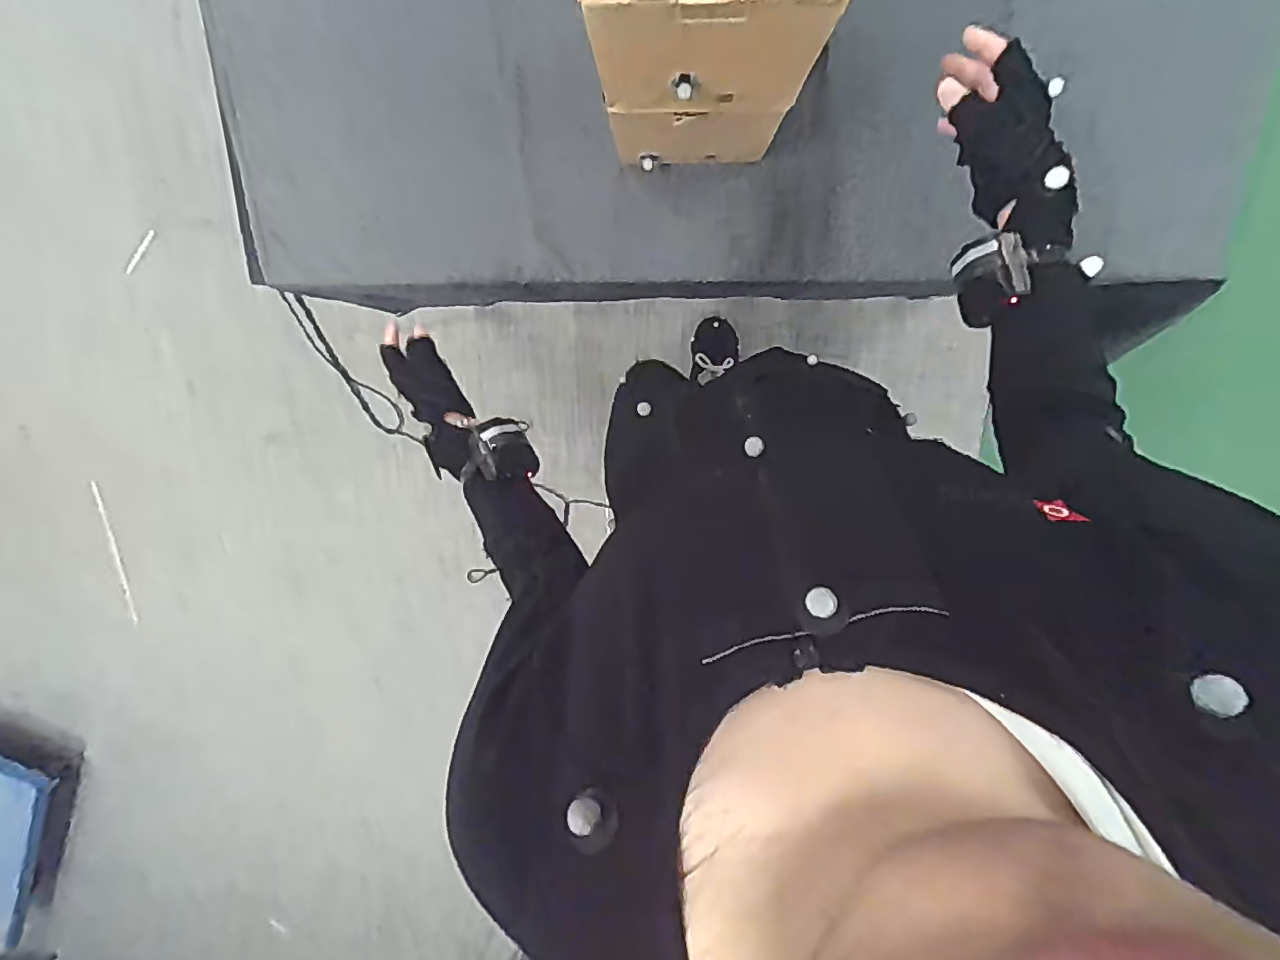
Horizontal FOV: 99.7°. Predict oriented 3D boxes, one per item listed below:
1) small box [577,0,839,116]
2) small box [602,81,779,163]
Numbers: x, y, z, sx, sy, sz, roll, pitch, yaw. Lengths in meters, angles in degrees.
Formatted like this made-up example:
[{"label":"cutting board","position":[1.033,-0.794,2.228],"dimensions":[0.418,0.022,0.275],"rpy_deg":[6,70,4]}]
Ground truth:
[{"label":"small box","position":[0.044,-0.395,0.390],"dimensions":[0.168,0.176,0.179],"rpy_deg":[0,105,3]},{"label":"small box","position":[0.052,-0.437,0.546],"dimensions":[0.168,0.176,0.179],"rpy_deg":[0,104,3]}]
